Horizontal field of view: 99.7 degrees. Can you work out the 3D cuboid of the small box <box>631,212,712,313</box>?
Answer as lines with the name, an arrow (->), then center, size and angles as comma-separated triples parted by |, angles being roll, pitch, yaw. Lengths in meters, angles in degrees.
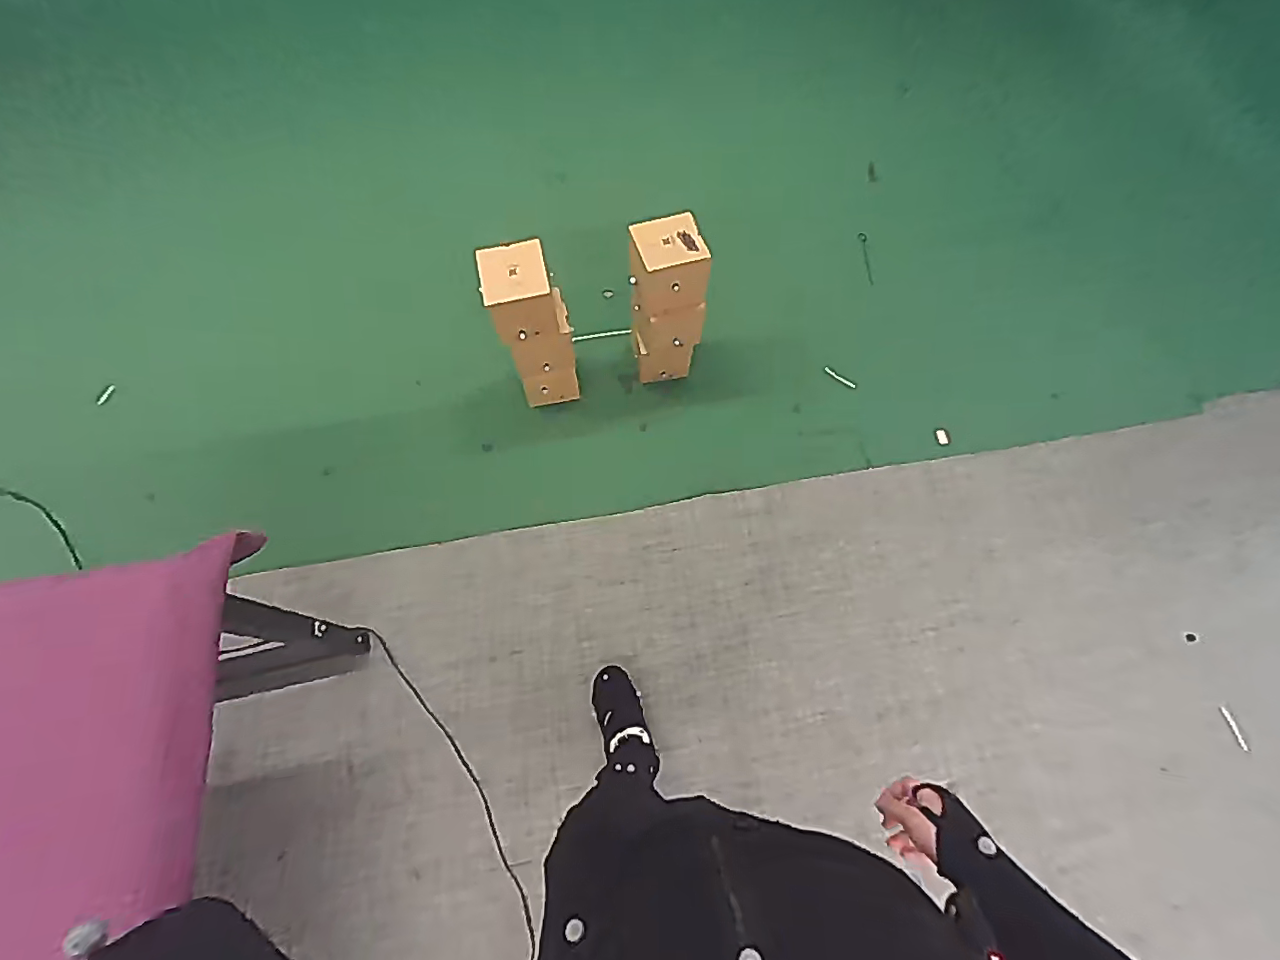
small box -> 0.078, -0.584, 1.462 | 0.179, 0.176, 0.168 | -17, 68, -7

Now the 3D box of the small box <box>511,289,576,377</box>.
small box -> -0.287, -0.423, 1.573 | 0.179, 0.176, 0.168 | -14, 67, -6

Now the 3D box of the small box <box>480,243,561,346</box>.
small box -> -0.310, -0.484, 1.421 | 0.168, 0.176, 0.179 | -13, 68, -3

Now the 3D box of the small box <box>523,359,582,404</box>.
small box -> -0.283, -0.359, 1.723 | 0.168, 0.176, 0.179 | -12, 67, -5

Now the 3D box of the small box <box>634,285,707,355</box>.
small box -> 0.084, -0.504, 1.608 | 0.168, 0.176, 0.179 | -19, 69, -8
